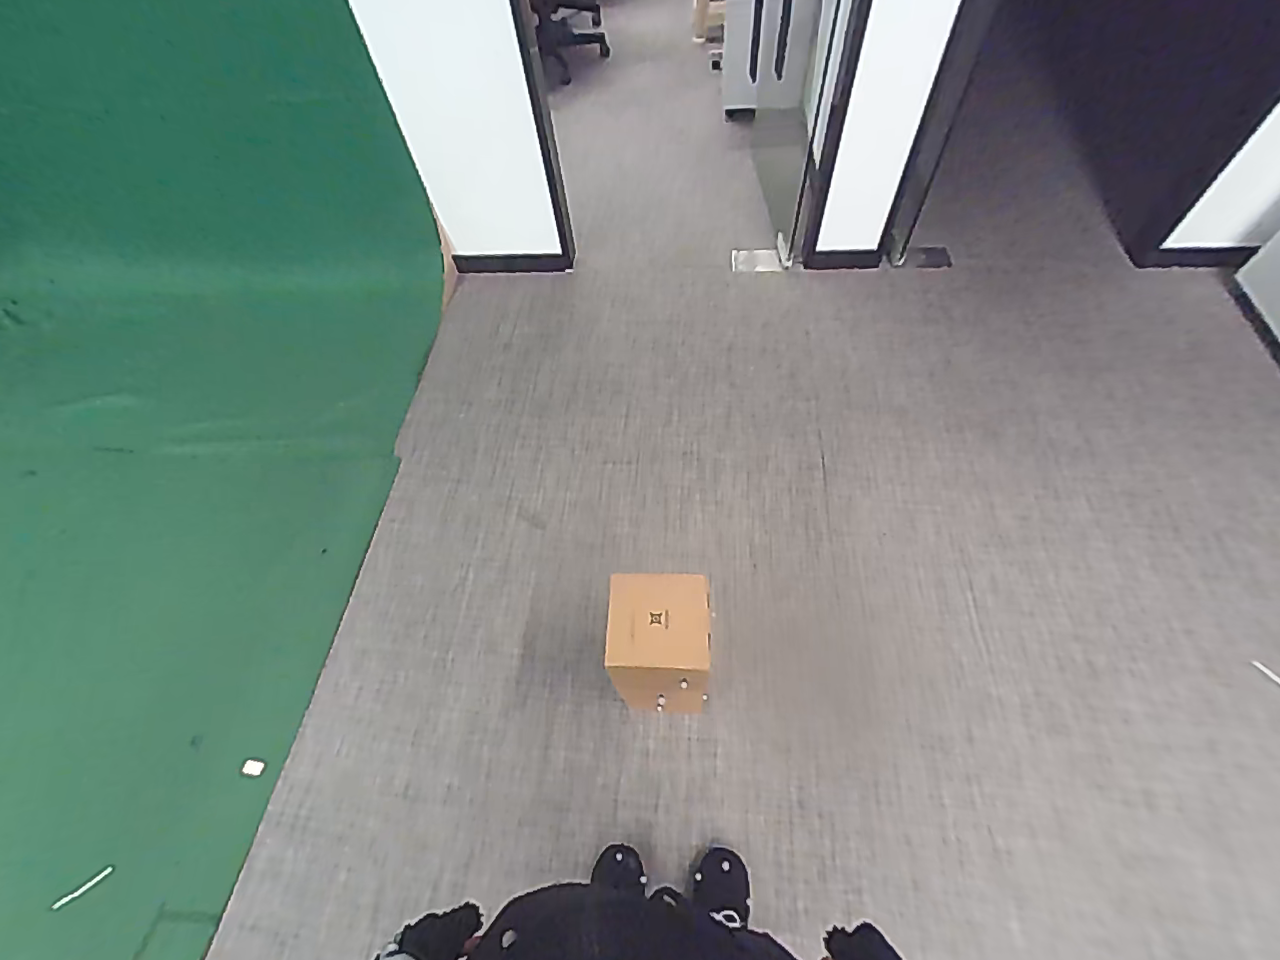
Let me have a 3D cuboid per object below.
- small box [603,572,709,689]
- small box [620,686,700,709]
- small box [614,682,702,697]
[{"bbox_3d":[0.034,0.279,0.992,0.179,0.176,0.168,-1,56,6],"label":"small box"},{"bbox_3d":[0.054,0.439,1.276,0.179,0.176,0.168,1,58,6],"label":"small box"},{"bbox_3d":[0.040,0.354,1.137,0.179,0.176,0.168,0,58,4],"label":"small box"}]
